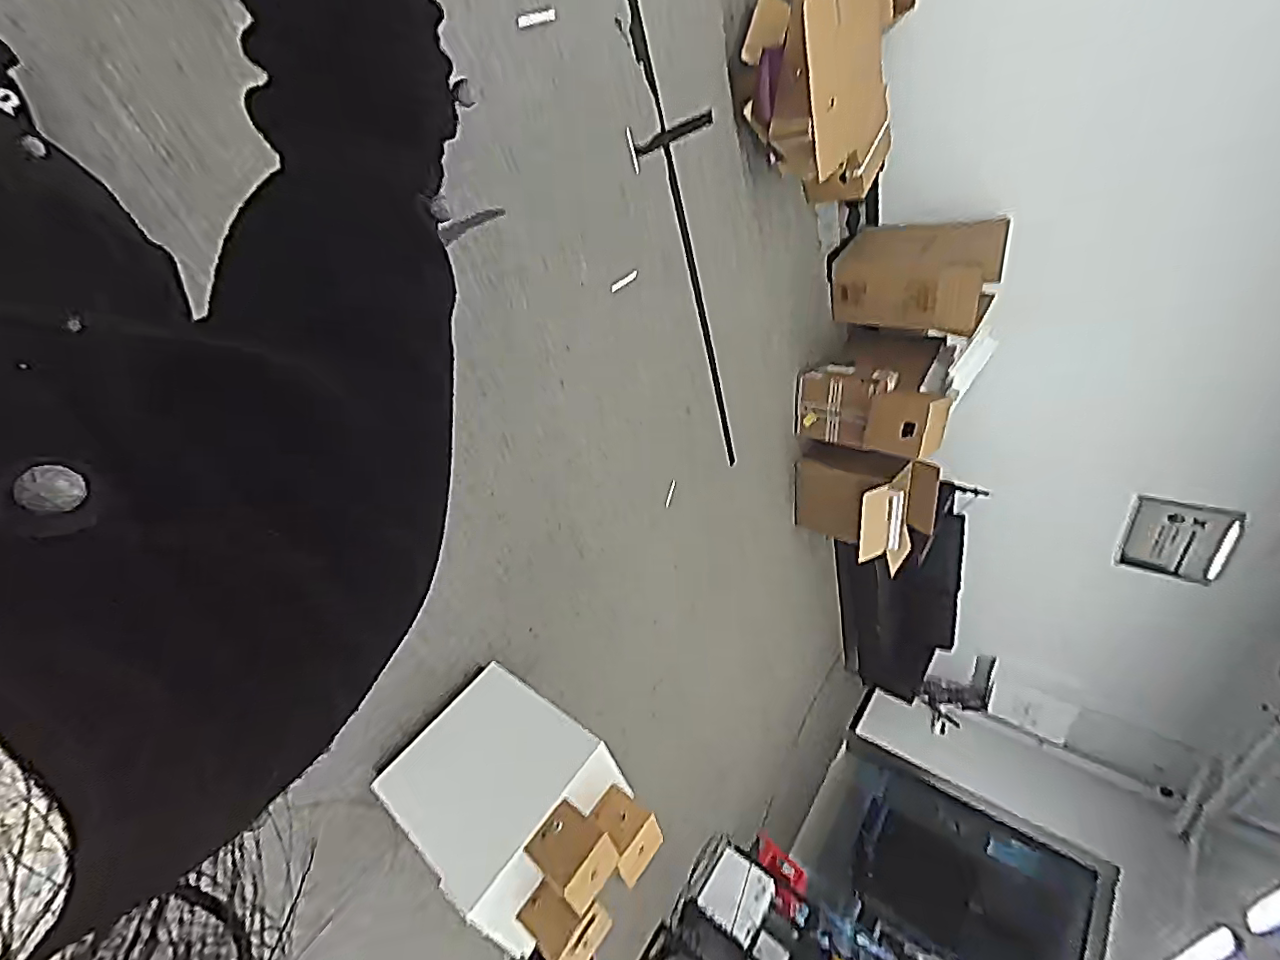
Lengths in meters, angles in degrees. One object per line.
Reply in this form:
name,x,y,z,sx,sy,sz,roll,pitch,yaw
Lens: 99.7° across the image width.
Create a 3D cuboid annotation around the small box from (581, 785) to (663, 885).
small box,-0.056,1.070,1.645,0.168,0.176,0.179,-41,132,-34
